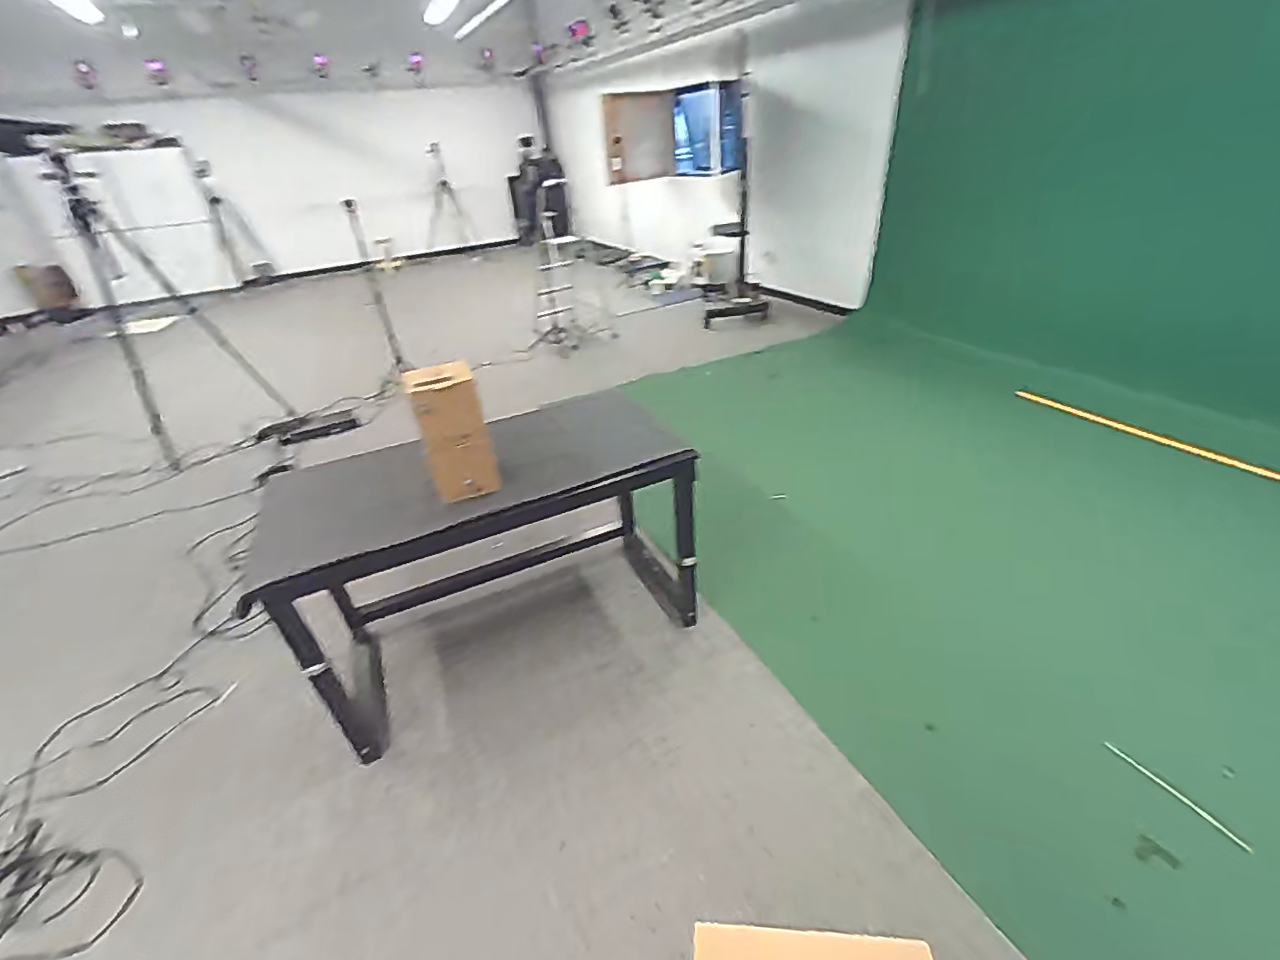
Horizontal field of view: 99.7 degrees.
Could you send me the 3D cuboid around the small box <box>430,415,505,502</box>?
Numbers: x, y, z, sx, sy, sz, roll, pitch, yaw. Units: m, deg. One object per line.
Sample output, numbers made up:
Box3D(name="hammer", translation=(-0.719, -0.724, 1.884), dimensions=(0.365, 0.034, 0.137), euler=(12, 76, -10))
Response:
Box3D(name="small box", translation=(-0.491, -0.062, 1.538), dimensions=(0.168, 0.176, 0.179), euler=(-15, 33, -15))
